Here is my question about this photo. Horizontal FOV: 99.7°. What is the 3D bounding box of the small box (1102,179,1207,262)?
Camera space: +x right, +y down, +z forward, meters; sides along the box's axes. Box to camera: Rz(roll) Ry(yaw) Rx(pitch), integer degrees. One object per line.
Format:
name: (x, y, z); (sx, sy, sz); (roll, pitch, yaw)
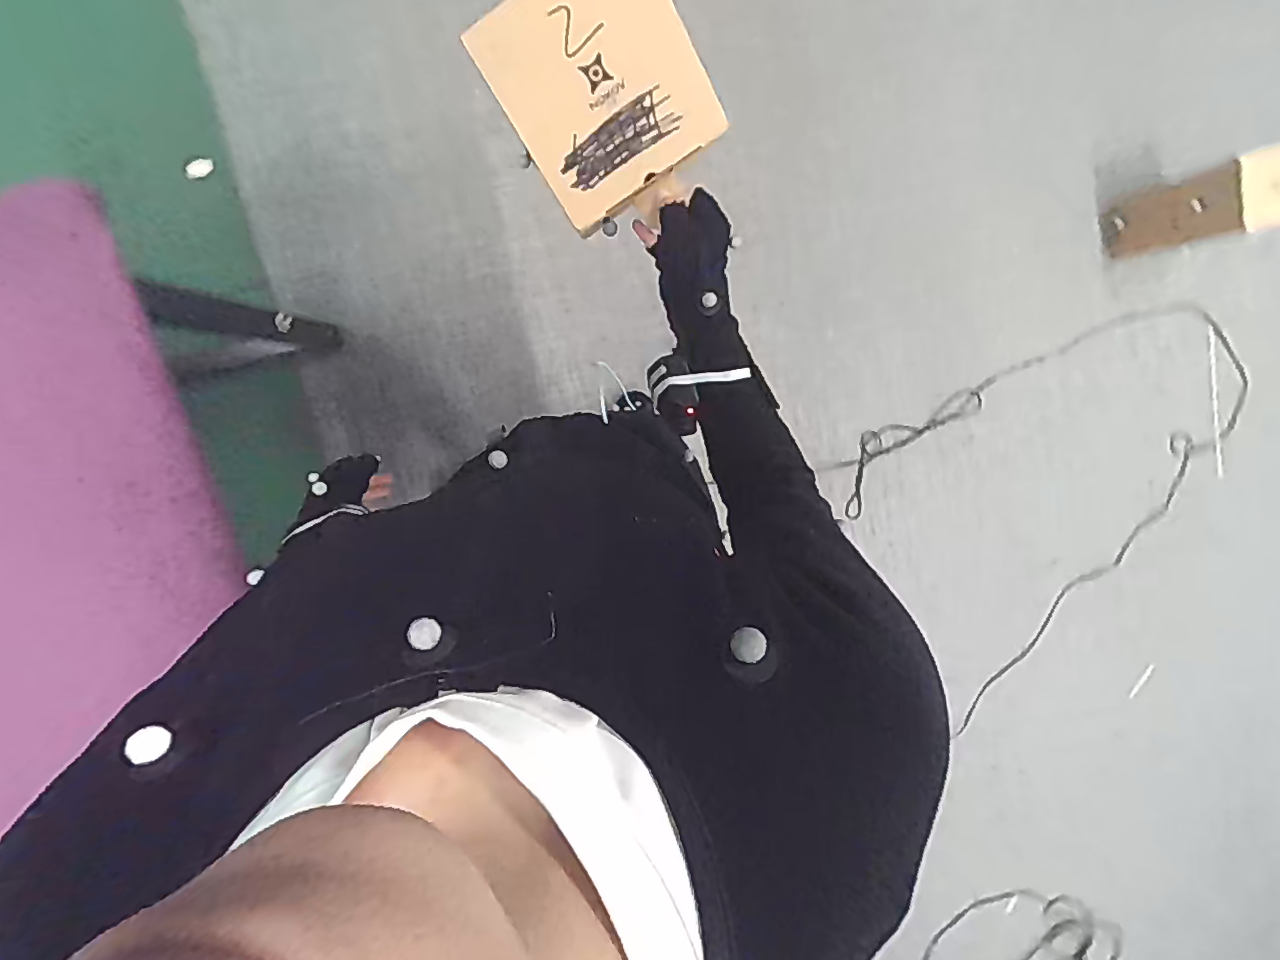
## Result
small box: (1.401, -0.701, 1.456); (0.179, 0.176, 0.168); (-11, 99, -4)

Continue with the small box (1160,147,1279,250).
small box: (1.401, -0.668, 1.294); (0.179, 0.176, 0.168); (-14, 100, -4)

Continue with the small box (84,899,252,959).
small box: (-0.668, 0.720, 0.722); (0.179, 0.176, 0.168); (-16, 100, -4)
